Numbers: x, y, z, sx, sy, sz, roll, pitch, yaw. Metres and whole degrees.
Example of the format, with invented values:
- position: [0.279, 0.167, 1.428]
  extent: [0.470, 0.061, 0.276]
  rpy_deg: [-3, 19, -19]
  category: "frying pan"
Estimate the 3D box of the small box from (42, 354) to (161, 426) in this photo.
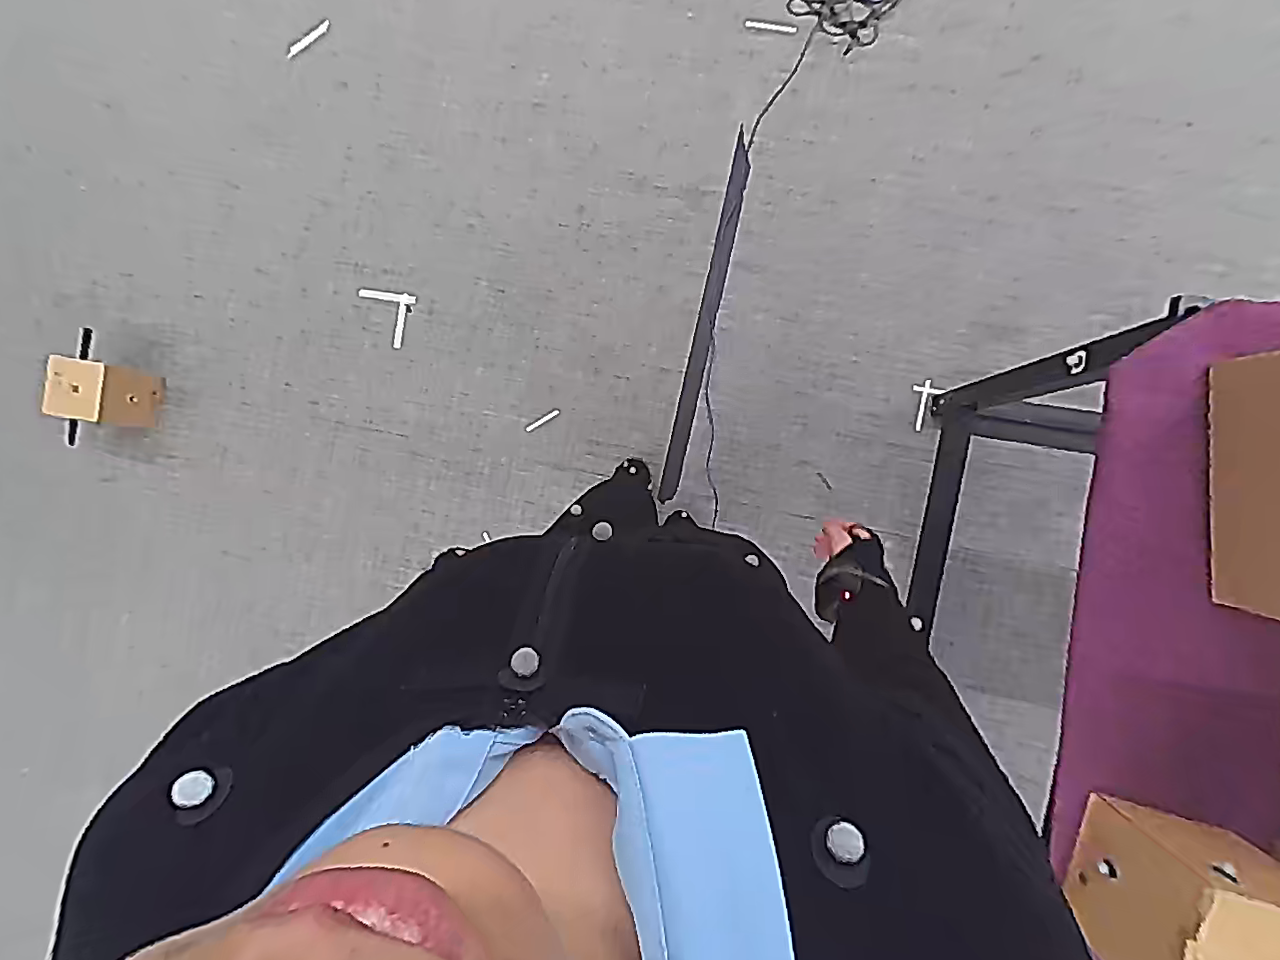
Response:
- position: [-1.539, -0.252, 1.556]
  extent: [0.179, 0.176, 0.168]
  rpy_deg: [10, 91, 6]
  category: "small box"
